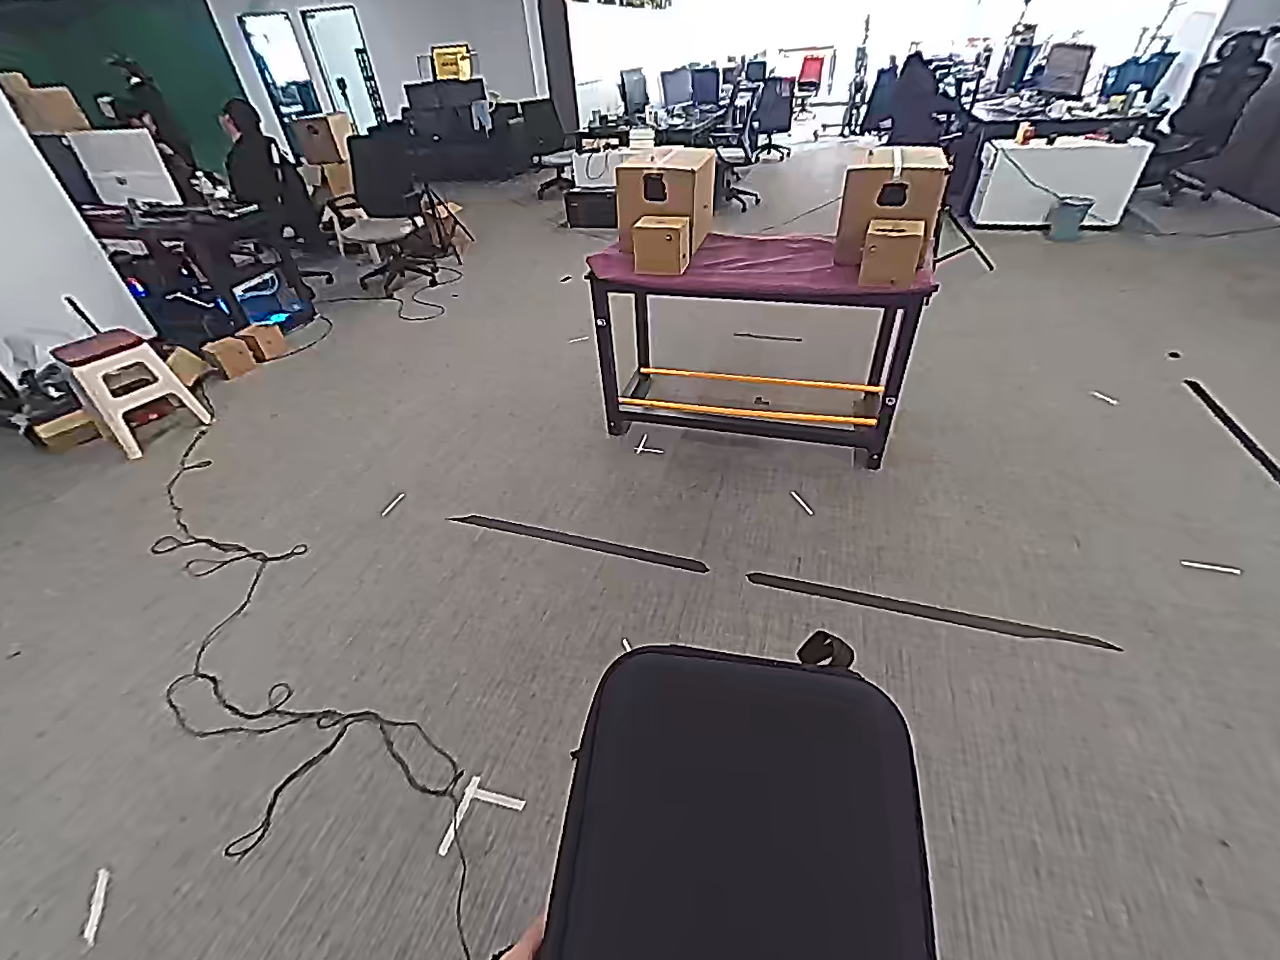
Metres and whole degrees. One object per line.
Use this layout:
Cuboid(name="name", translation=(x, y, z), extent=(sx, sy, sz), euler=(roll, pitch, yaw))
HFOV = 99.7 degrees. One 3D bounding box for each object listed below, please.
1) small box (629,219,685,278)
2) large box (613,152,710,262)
Cuboid(name="small box", translation=(0.066, -0.863, 2.013), extent=(0.179, 0.176, 0.168), euler=(7, 39, 13))
Cuboid(name="large box", translation=(0.099, -1.132, 2.231), extent=(0.320, 0.320, 0.408), euler=(9, 43, 13))
